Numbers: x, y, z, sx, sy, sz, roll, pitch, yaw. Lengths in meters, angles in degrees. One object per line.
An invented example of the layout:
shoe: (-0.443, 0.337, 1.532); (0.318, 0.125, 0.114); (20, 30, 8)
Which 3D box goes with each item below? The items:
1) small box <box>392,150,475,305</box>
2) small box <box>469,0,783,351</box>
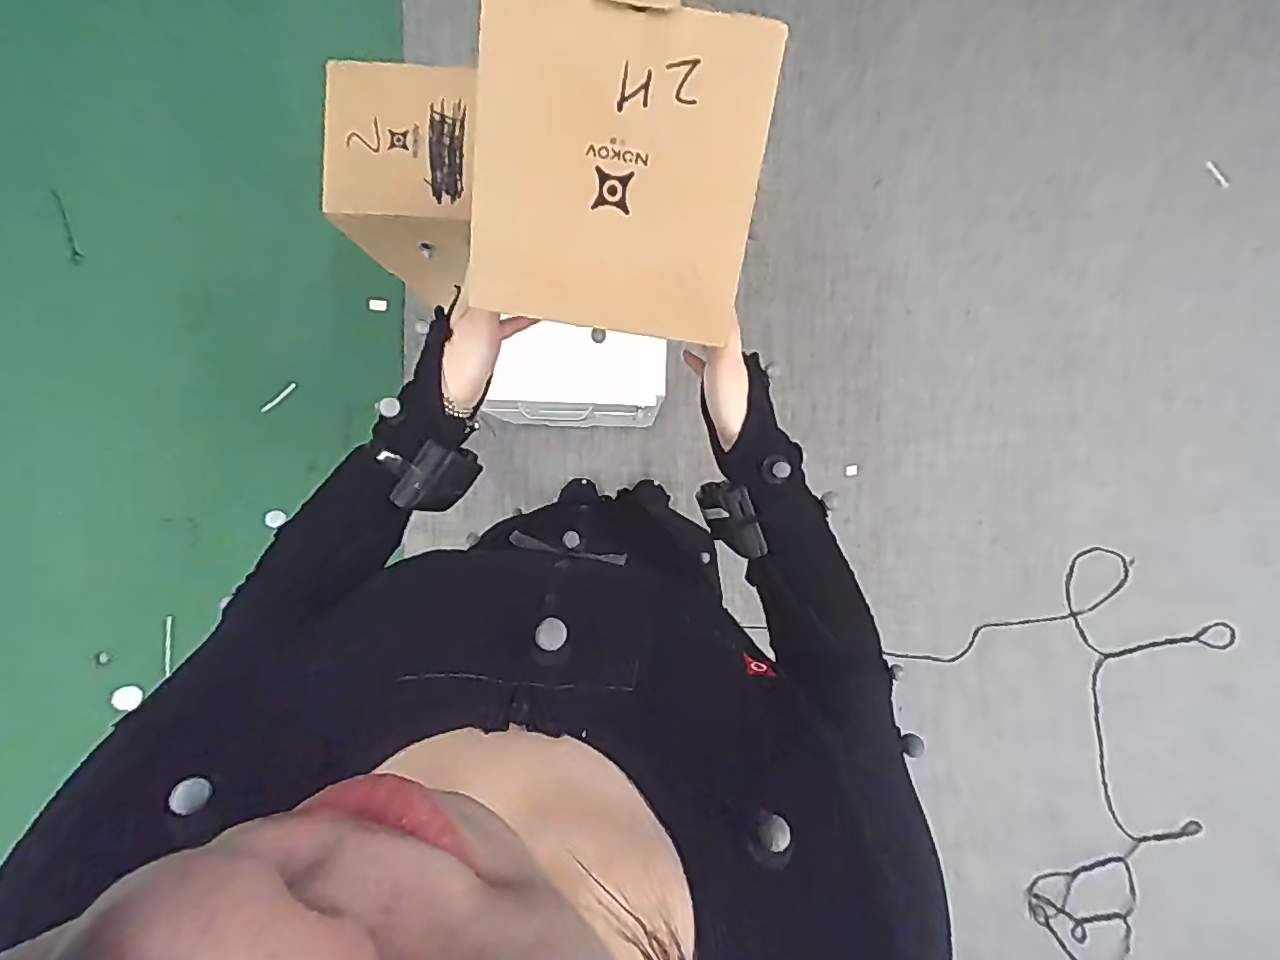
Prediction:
small box: (-0.255, -0.371, 0.825); (0.179, 0.176, 0.168); (1, 91, -1)
small box: (-0.014, -0.201, 0.391); (0.168, 0.176, 0.179); (8, 108, -3)
